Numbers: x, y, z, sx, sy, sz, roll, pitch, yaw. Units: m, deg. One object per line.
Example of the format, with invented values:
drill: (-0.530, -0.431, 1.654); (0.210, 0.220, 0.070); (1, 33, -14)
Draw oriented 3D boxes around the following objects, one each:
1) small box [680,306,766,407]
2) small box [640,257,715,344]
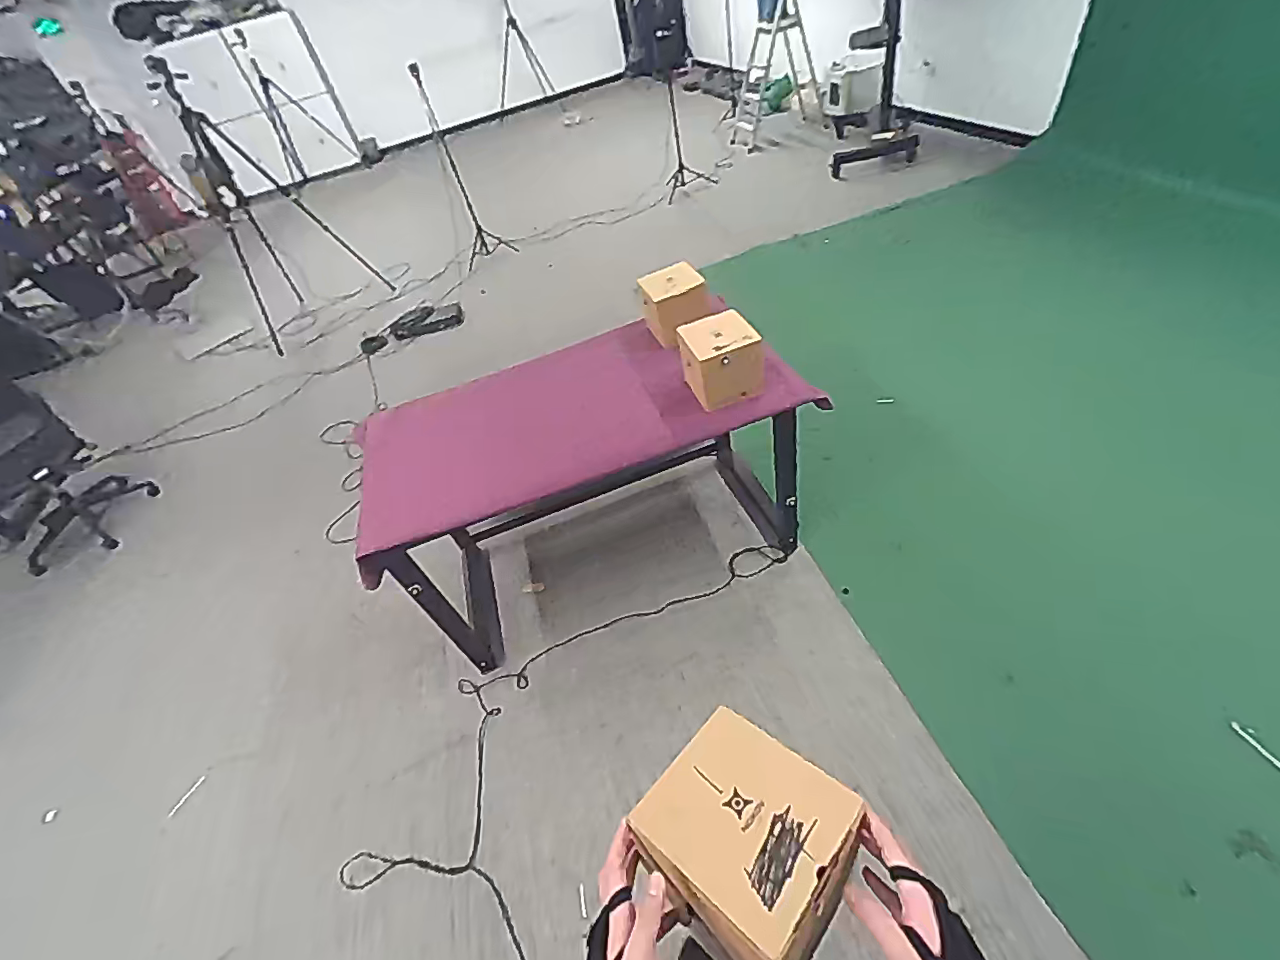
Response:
small box: (0.218, -0.321, 1.417); (0.168, 0.176, 0.179); (-21, 45, -1)
small box: (0.119, -0.551, 1.668); (0.168, 0.176, 0.179); (-24, 46, -2)
